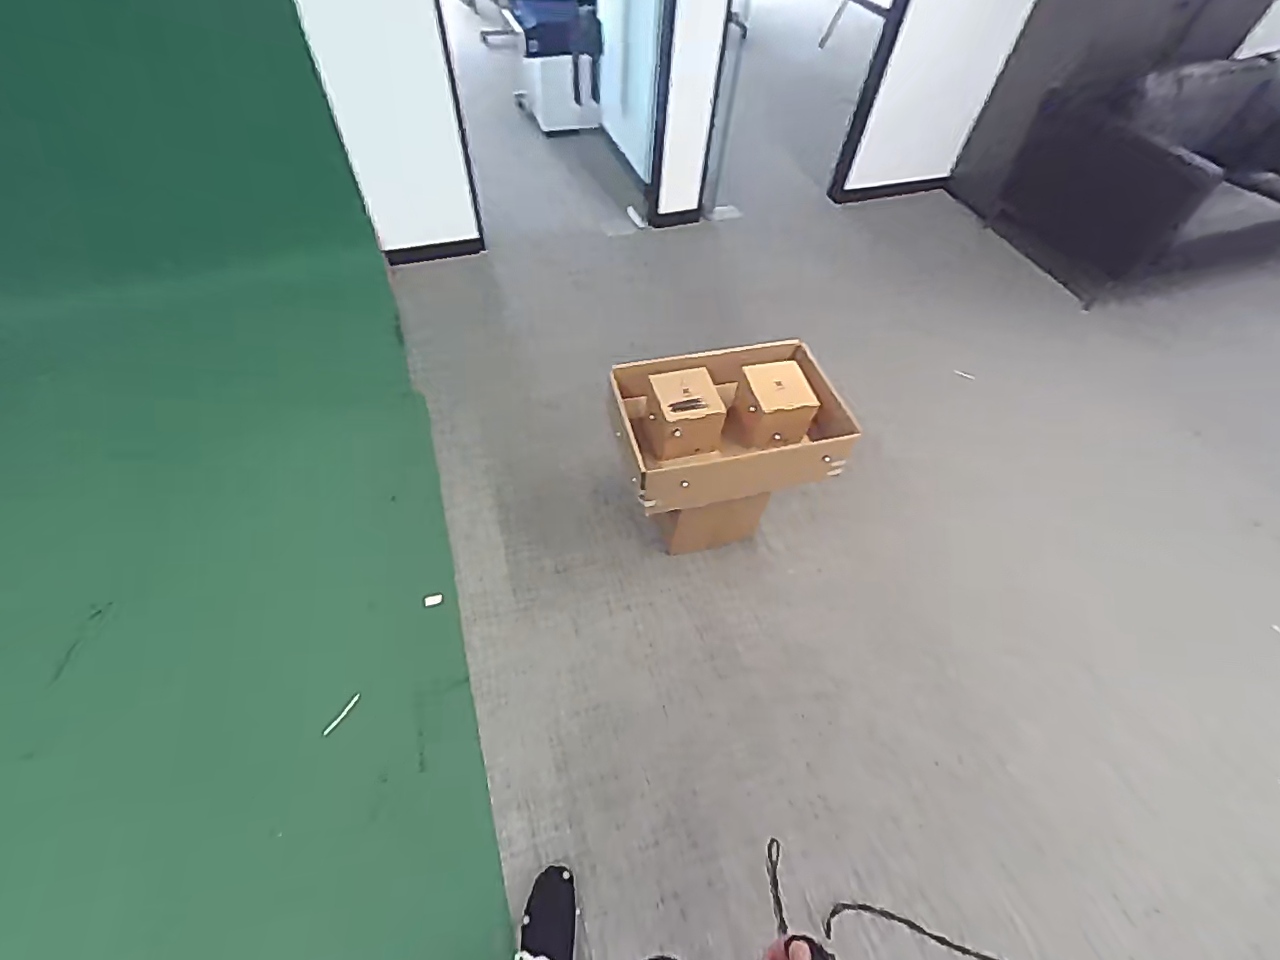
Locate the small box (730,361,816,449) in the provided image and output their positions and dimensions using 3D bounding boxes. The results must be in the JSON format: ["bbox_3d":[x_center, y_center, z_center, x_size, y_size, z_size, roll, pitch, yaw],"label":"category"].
[{"bbox_3d":[0.371,-0.215,1.548,0.168,0.176,0.179,-9,56,-11],"label":"small box"}]
